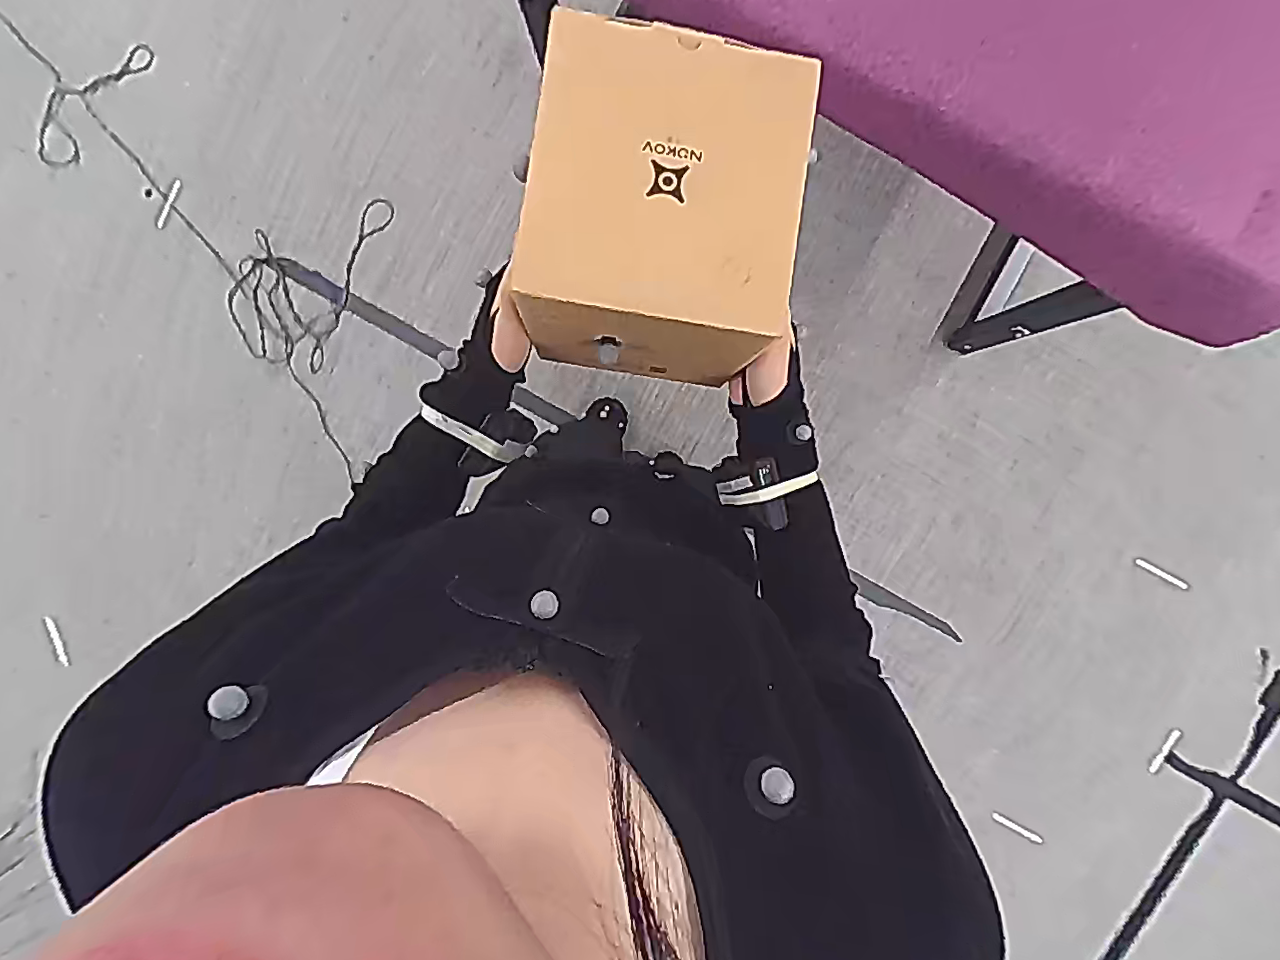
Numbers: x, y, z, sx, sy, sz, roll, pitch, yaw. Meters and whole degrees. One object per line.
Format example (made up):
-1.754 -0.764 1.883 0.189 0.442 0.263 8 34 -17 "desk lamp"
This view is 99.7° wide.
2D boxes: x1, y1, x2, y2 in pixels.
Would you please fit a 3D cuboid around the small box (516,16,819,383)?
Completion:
0.013 -0.181 0.408 0.168 0.176 0.179 9 87 -4 "small box"
